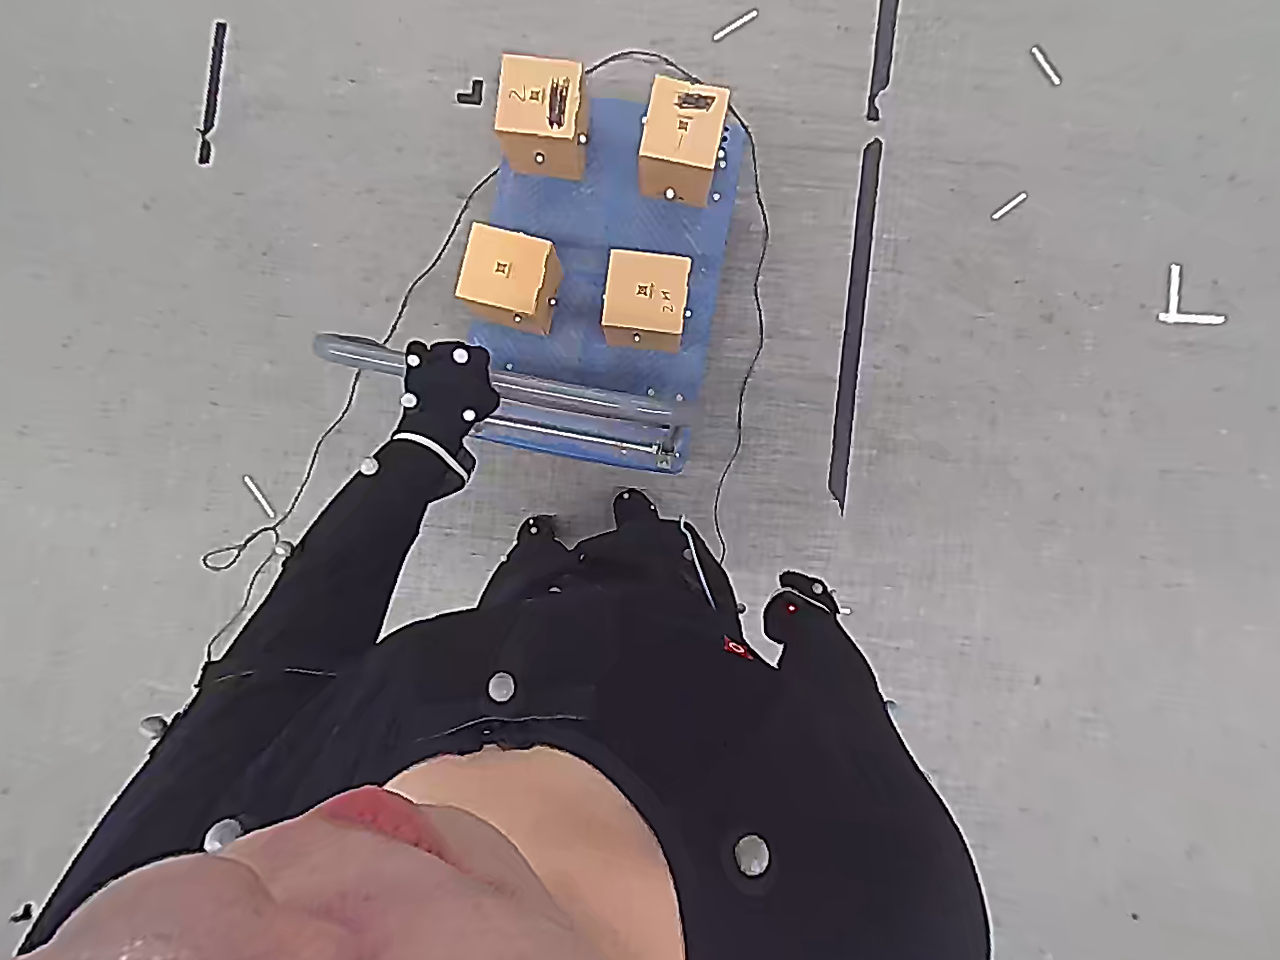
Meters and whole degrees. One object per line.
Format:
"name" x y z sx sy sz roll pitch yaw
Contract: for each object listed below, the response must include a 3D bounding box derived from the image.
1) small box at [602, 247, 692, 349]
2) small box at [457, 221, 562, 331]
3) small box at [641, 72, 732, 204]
"small box" 0.017 -0.405 1.228 0.179 0.176 0.168 7 91 1
"small box" -0.289 -0.455 1.233 0.179 0.176 0.168 14 90 -1
"small box" 0.098 -0.765 1.225 0.168 0.176 0.179 12 92 1
